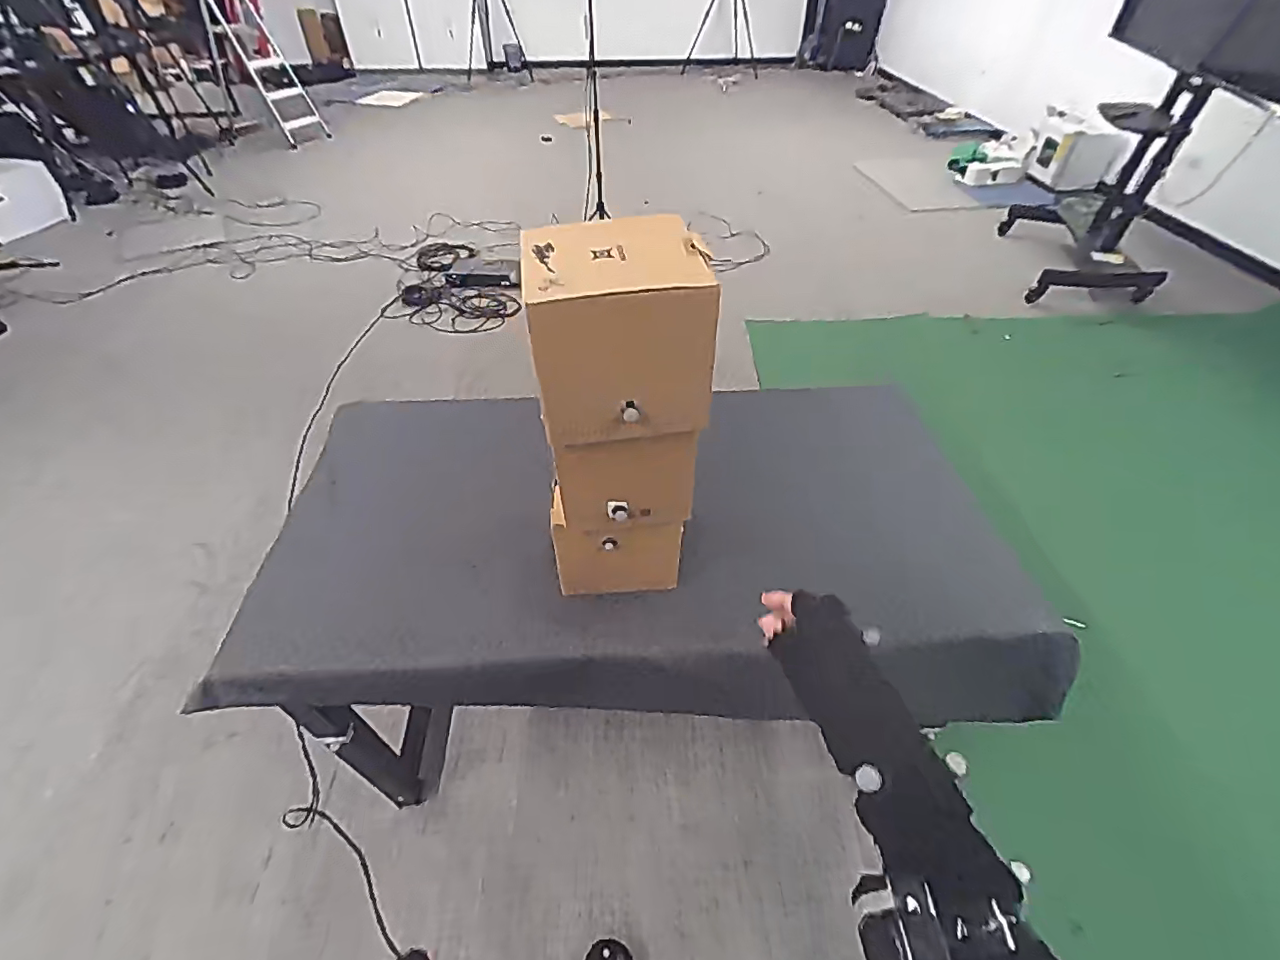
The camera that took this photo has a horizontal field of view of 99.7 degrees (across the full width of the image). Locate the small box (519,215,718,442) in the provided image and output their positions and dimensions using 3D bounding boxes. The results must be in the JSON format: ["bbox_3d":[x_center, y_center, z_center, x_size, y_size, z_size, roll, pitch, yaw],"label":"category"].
[{"bbox_3d":[-0.026,-0.159,0.576,0.179,0.176,0.168,-7,46,-5],"label":"small box"}]

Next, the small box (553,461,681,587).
[{"bbox_3d":[-0.032,0.051,0.825,0.179,0.176,0.168,-3,46,-2],"label":"small box"}]

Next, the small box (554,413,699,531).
[{"bbox_3d":[-0.024,-0.058,0.706,0.168,0.176,0.179,-8,47,-4],"label":"small box"}]
